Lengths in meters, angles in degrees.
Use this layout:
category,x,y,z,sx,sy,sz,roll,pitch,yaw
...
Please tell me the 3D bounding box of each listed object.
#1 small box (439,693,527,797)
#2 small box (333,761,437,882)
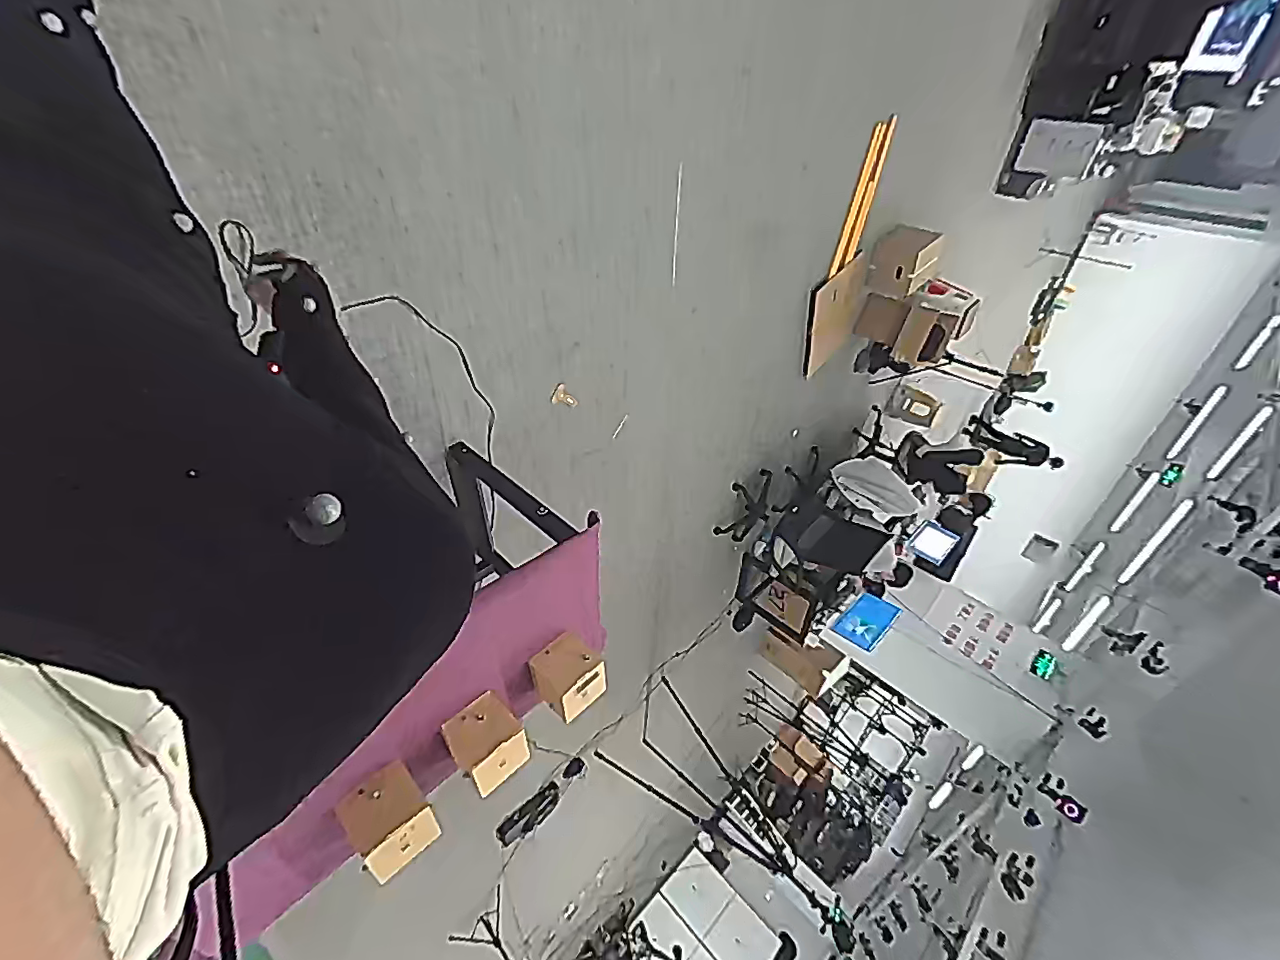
category,x,y,z,sx,sy,sz,roll,pitch,yaw
small box,-0.444,0.747,1.538,0.168,0.176,0.179,-31,137,-34
small box,-0.644,0.858,1.372,0.168,0.176,0.179,-30,137,-35
